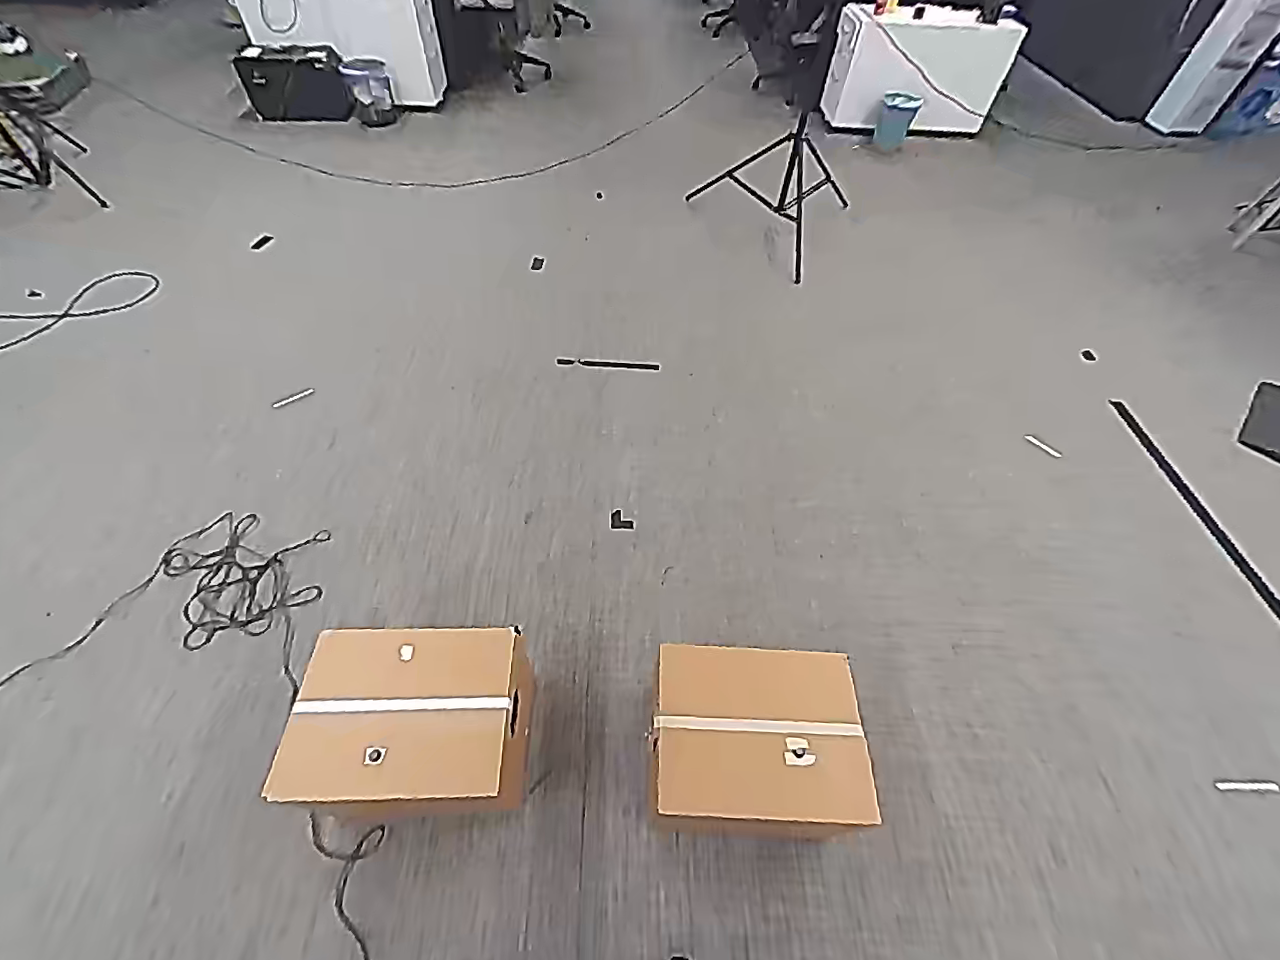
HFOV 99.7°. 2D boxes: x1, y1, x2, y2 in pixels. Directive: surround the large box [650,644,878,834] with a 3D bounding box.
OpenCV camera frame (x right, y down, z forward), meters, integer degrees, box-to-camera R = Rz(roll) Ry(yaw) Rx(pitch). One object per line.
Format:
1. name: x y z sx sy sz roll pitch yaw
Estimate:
1. large box: 0.230 0.573 1.183 0.408 0.320 0.320 4 52 -2
